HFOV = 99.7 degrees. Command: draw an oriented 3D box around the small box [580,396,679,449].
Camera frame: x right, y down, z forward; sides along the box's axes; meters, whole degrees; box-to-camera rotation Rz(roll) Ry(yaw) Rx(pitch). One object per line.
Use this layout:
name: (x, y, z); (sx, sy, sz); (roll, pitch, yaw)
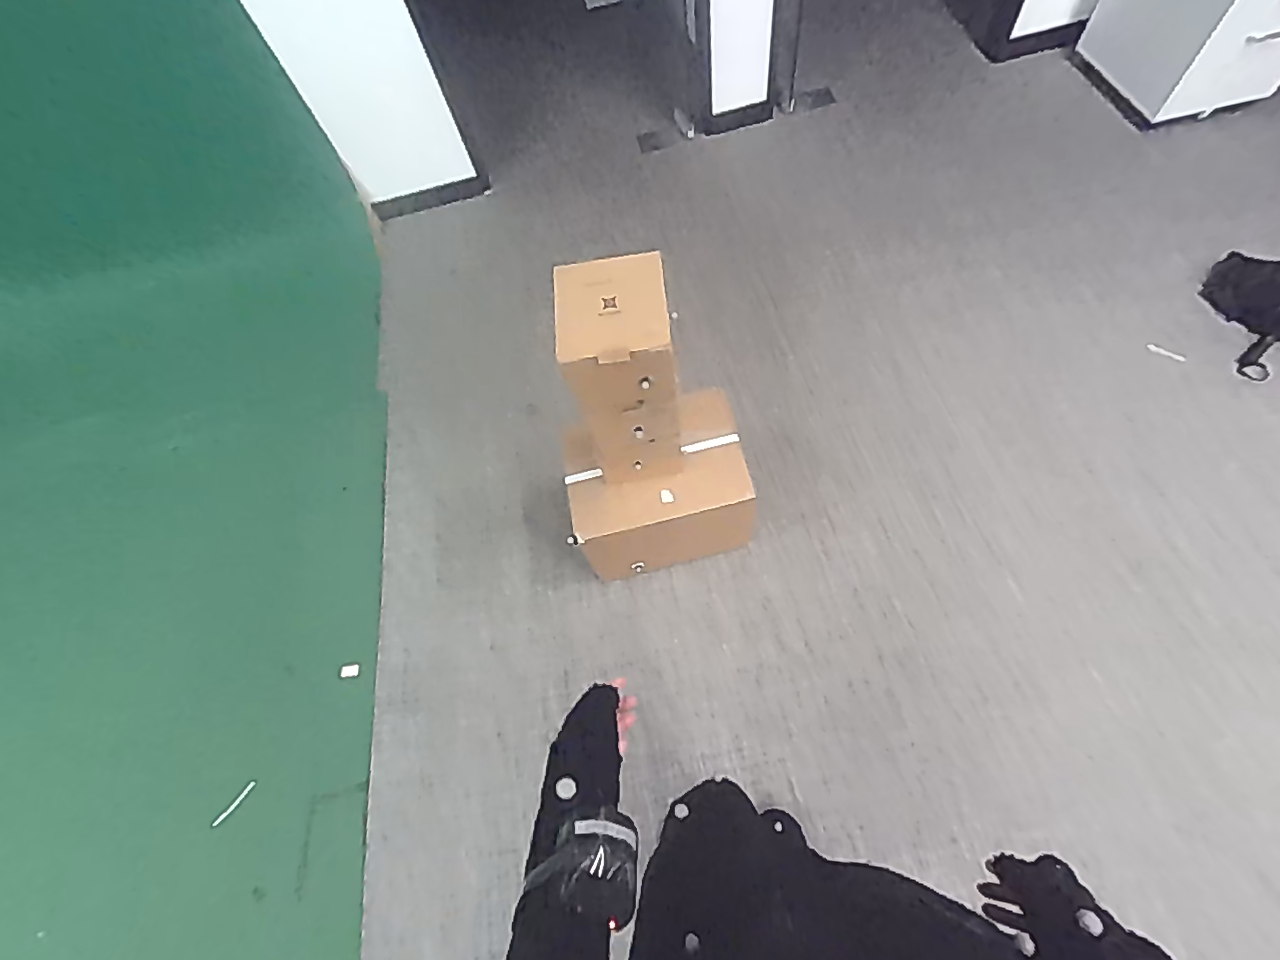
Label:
small box: (-0.026, -0.171, 1.020); (0.168, 0.176, 0.179); (-14, 69, 1)

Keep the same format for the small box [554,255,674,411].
small box: (-0.037, -0.224, 0.867); (0.168, 0.176, 0.179); (-7, 67, 3)

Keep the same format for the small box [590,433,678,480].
small box: (-0.011, -0.111, 1.169); (0.179, 0.176, 0.168); (-7, 67, 4)
